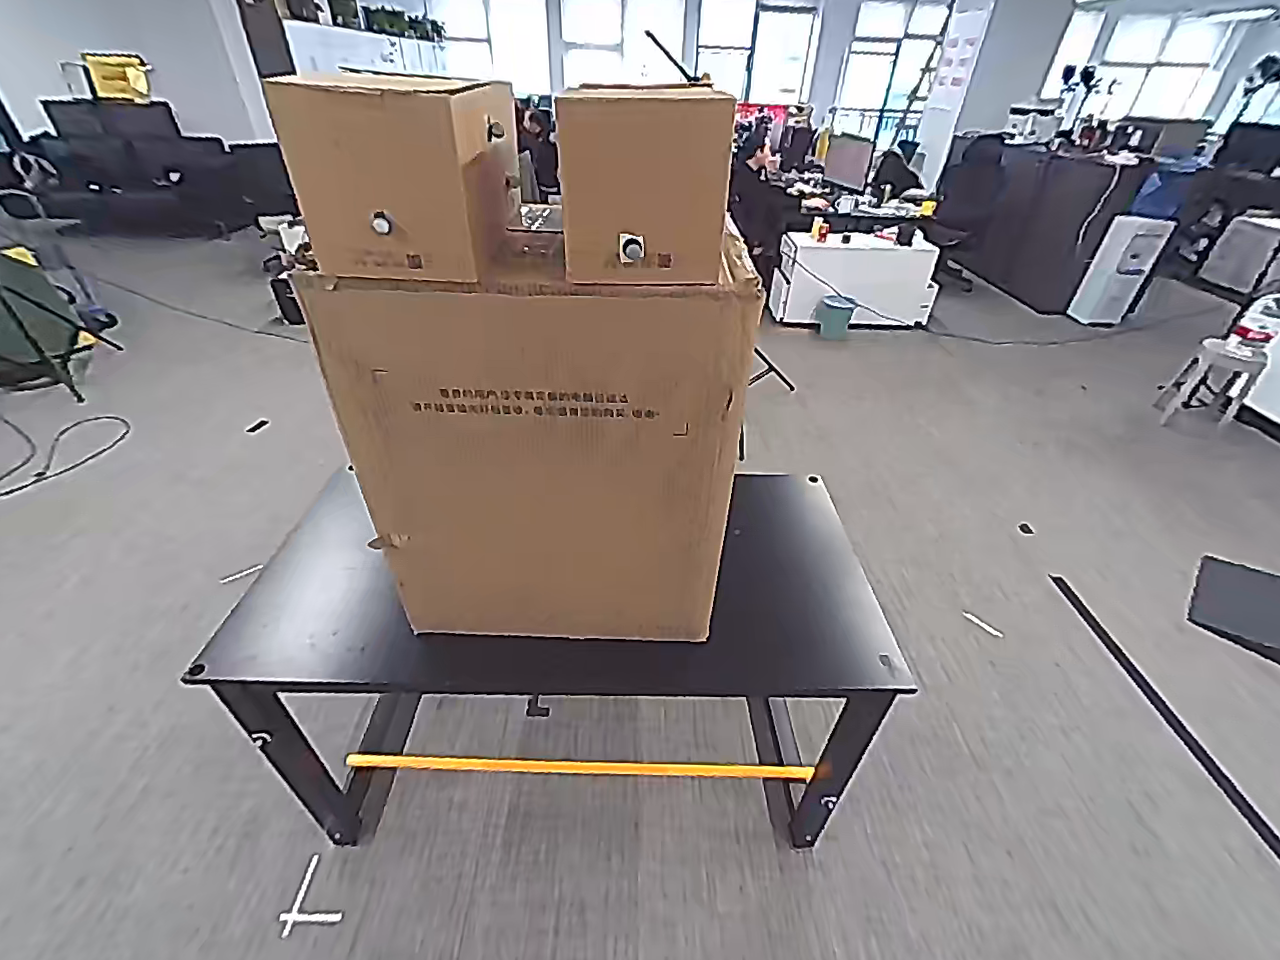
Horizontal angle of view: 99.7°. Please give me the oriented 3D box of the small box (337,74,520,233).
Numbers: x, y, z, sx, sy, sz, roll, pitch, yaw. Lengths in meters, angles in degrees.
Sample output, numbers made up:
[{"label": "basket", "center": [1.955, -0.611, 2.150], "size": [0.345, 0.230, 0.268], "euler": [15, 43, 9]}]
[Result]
[{"label": "small box", "center": [-0.272, -0.446, 0.743], "size": [0.179, 0.176, 0.168], "euler": [3, 36, -1]}]

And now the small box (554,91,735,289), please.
[{"label": "small box", "center": [0.001, -0.321, 0.595], "size": [0.168, 0.176, 0.179], "euler": [-3, 38, -2]}]
